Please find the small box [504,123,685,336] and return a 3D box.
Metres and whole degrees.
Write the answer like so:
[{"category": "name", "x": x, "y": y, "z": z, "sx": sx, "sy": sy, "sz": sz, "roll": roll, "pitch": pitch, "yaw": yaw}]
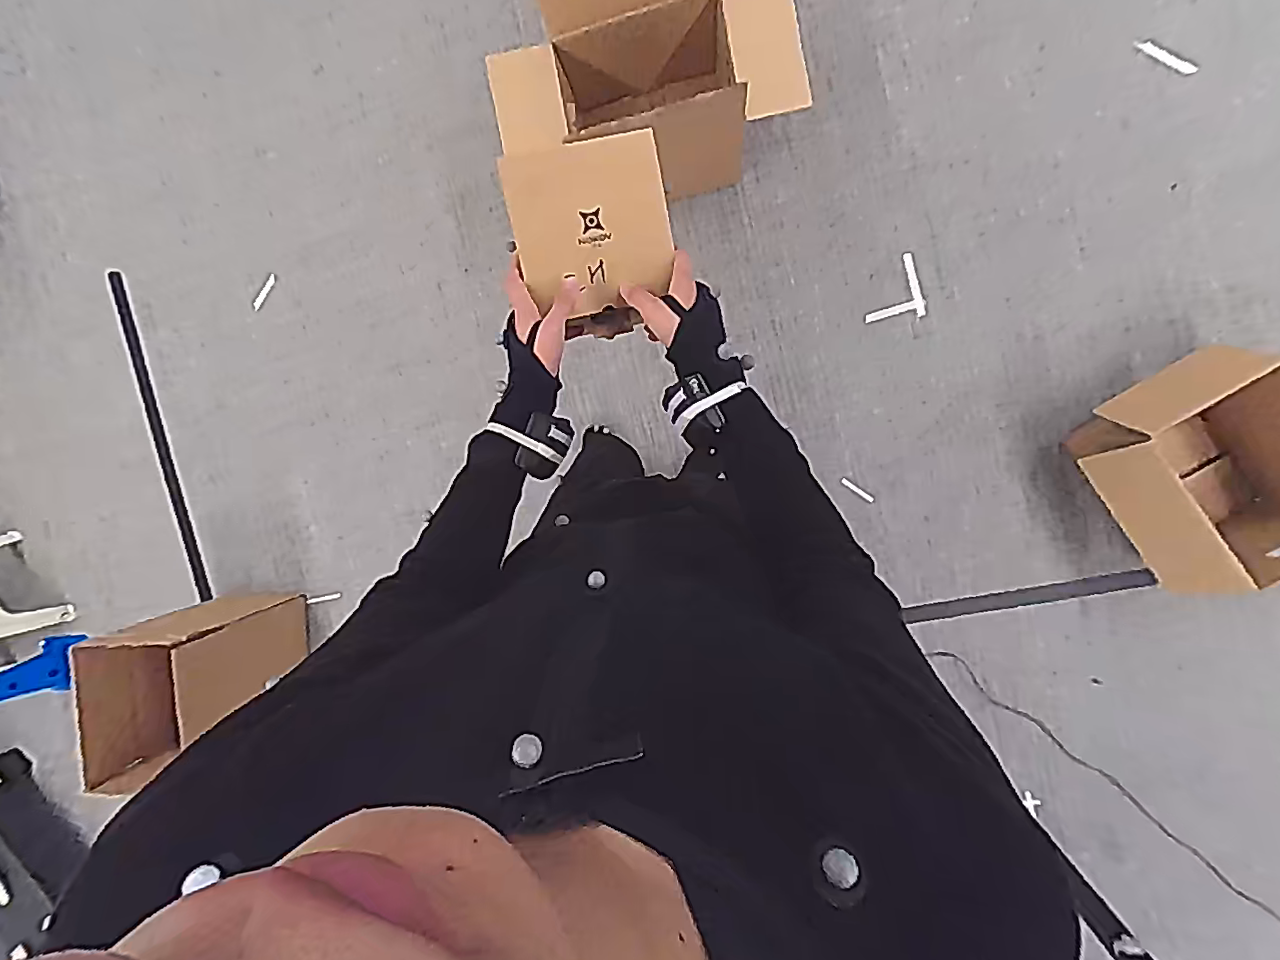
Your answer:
[{"category": "small box", "x": -0.051, "y": -0.280, "z": 0.644, "sx": 0.168, "sy": 0.176, "sz": 0.179, "roll": -12, "pitch": 100, "yaw": -1}]
